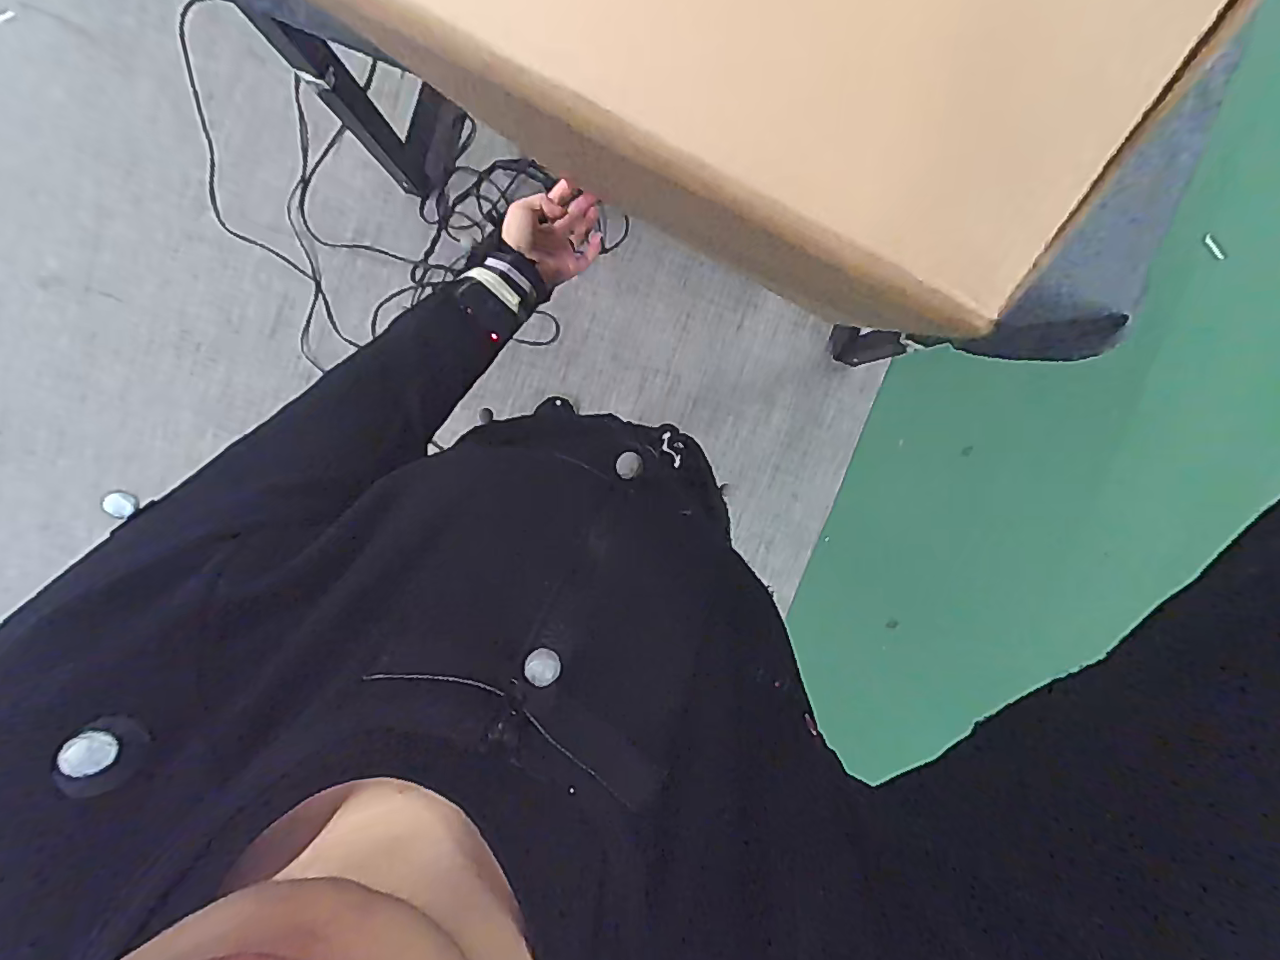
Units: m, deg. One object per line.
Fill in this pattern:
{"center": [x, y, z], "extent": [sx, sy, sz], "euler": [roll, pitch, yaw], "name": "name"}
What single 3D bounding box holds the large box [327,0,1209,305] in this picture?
{"center": [0.086, -0.319, 0.318], "extent": [0.320, 0.408, 0.320], "euler": [28, 111, 1], "name": "large box"}
